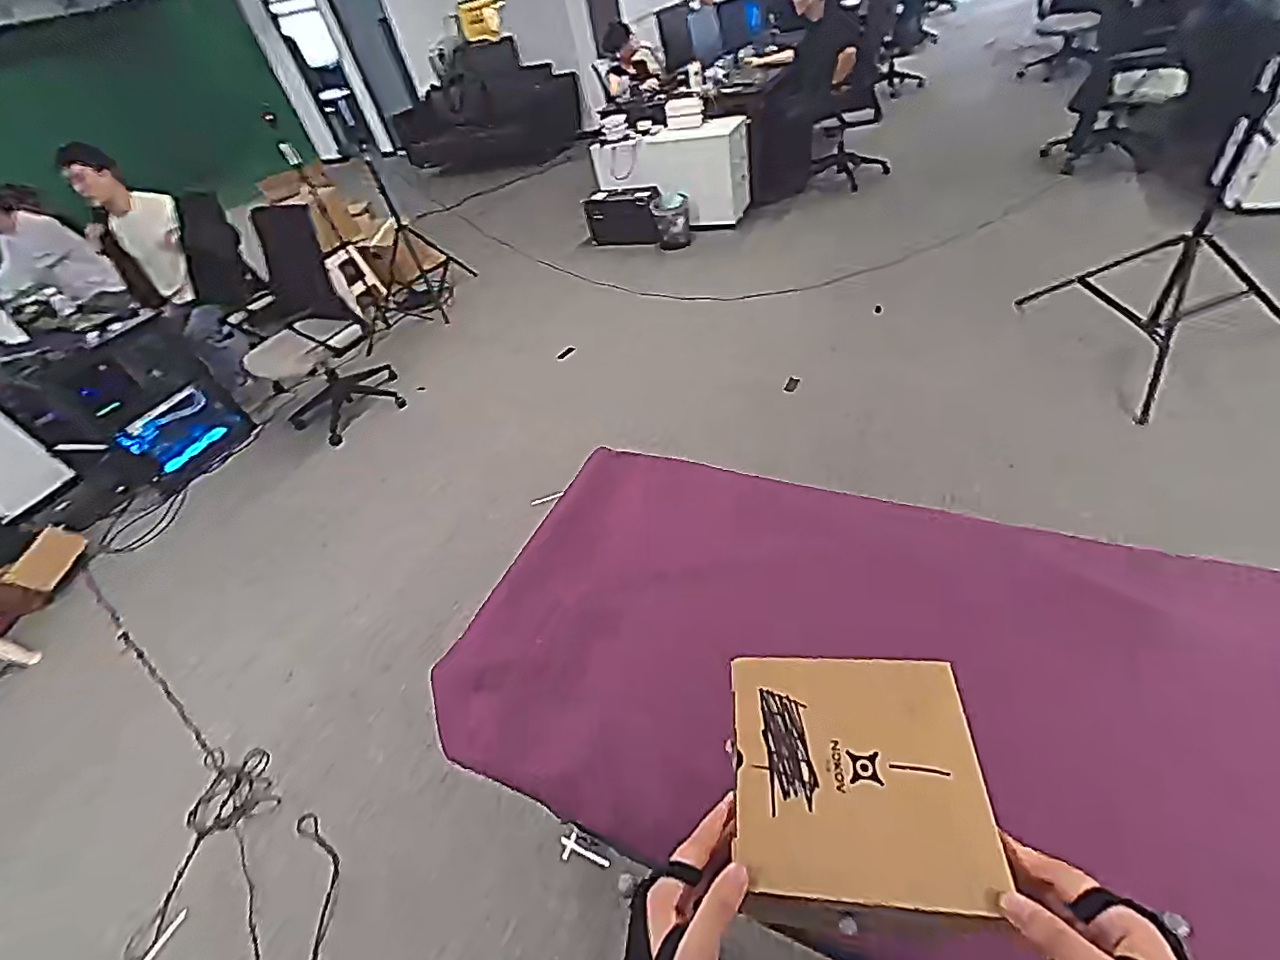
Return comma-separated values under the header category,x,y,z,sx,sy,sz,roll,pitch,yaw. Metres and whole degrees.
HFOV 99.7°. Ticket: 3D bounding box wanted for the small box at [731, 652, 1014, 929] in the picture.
category,x,y,z,sx,sy,sz,roll,pitch,yaw
small box,0.172,0.263,0.460,0.179,0.176,0.168,-2,47,12
